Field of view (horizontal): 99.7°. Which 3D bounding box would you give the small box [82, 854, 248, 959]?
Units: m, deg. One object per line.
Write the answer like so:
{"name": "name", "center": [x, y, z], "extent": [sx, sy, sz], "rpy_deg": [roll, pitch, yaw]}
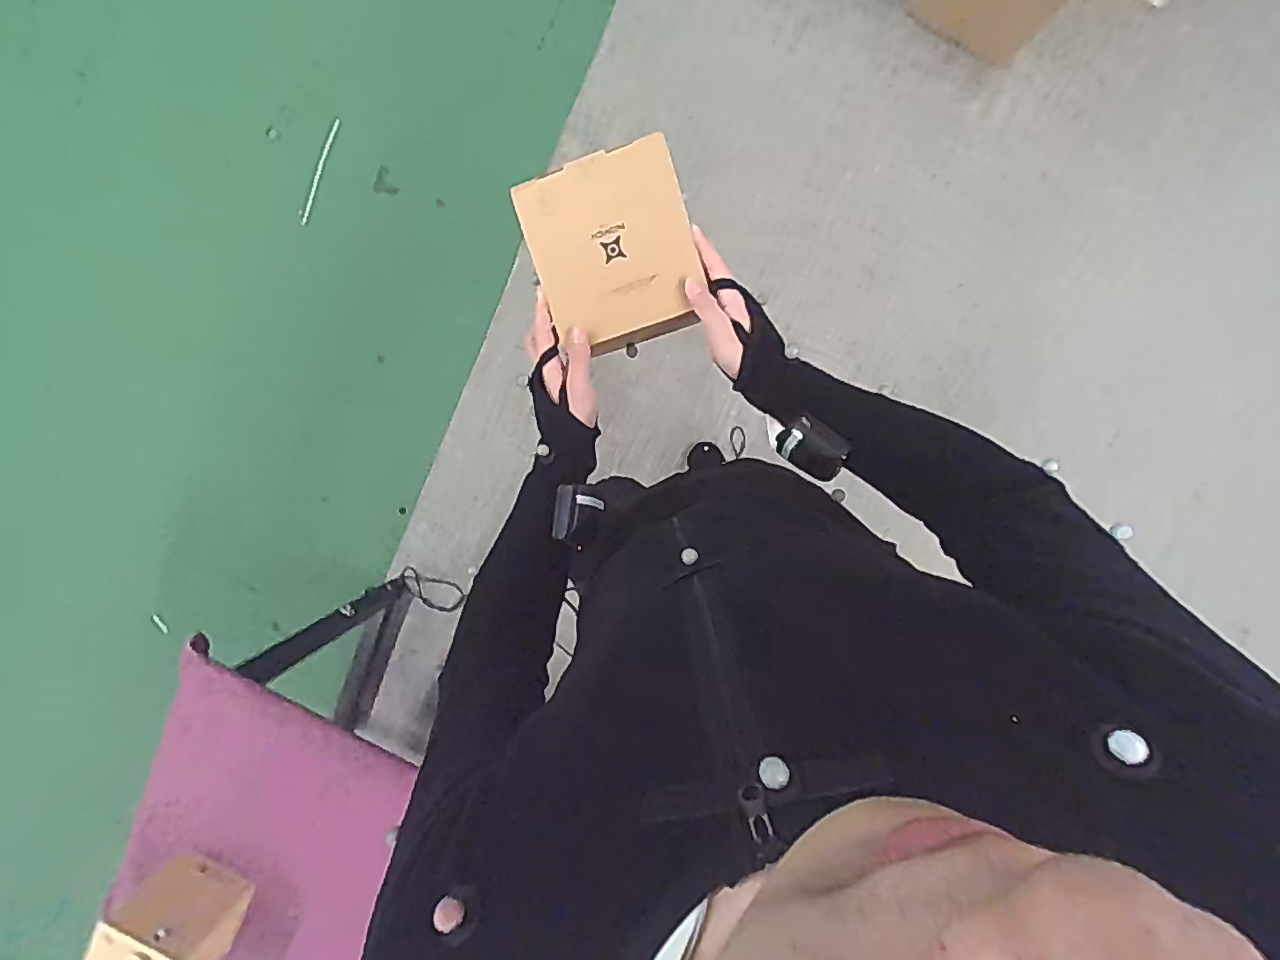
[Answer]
{"name": "small box", "center": [-0.888, 0.864, 1.014], "extent": [0.168, 0.176, 0.179], "rpy_deg": [26, 99, 1]}

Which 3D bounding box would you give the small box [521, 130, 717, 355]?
{"name": "small box", "center": [-0.017, -0.255, 0.627], "extent": [0.168, 0.176, 0.179], "rpy_deg": [-16, 99, 6]}
